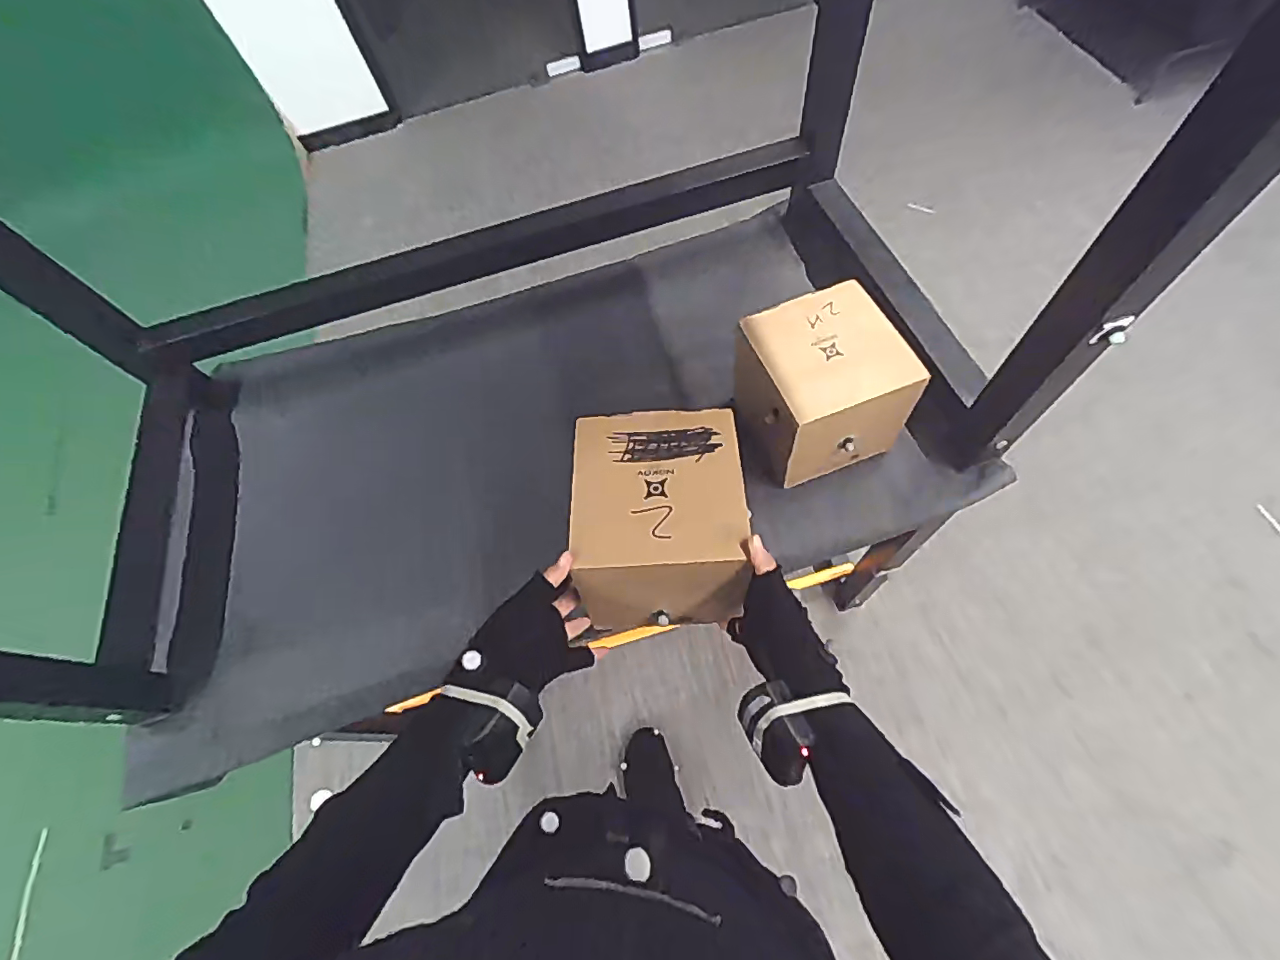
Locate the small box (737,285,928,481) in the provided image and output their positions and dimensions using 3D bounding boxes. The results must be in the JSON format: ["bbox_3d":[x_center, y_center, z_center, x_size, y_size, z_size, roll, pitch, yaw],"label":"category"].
[{"bbox_3d":[0.239,-0.118,0.723,0.168,0.176,0.179,-20,62,-3],"label":"small box"}]
